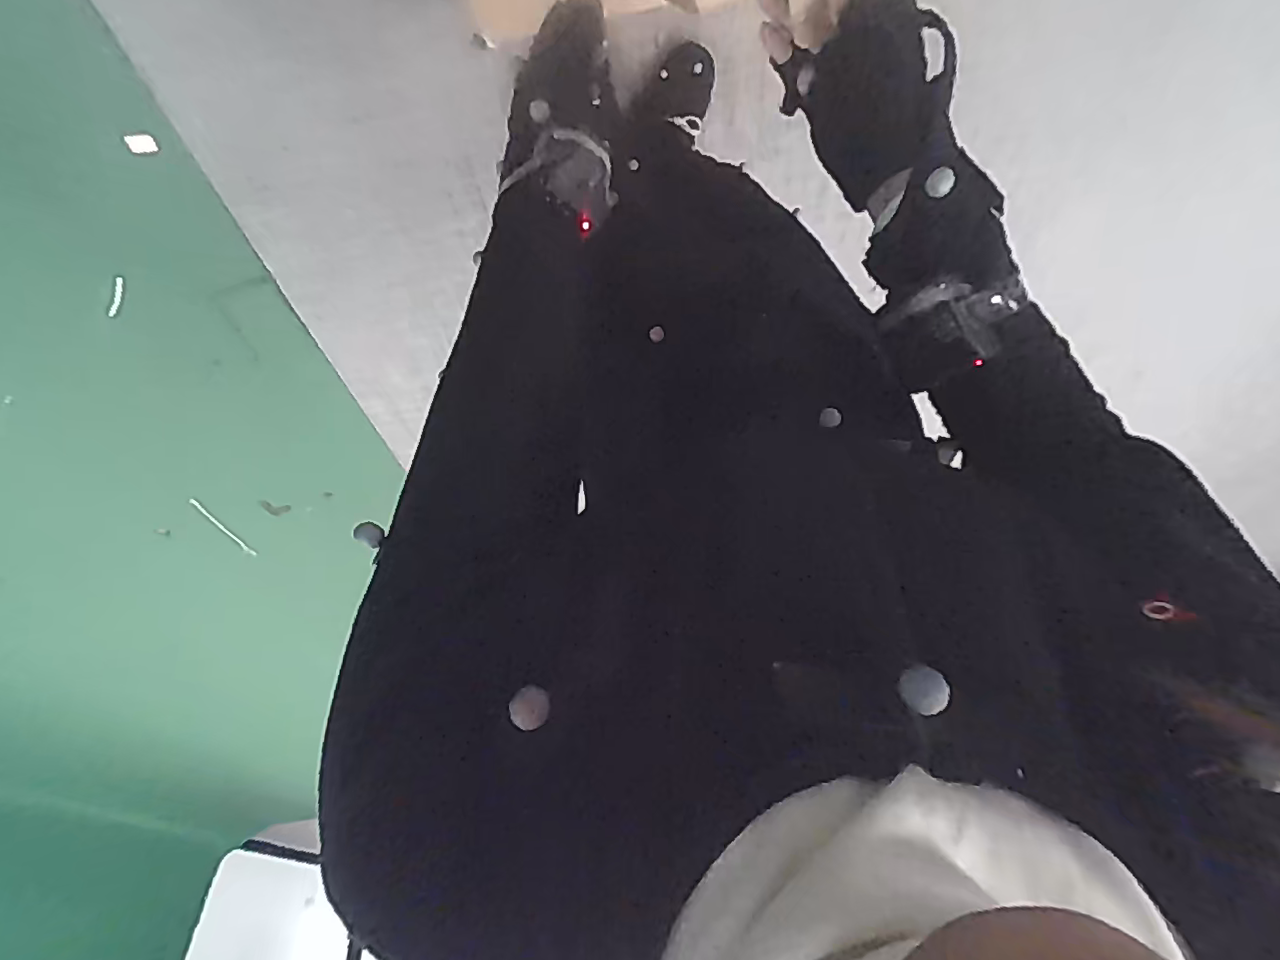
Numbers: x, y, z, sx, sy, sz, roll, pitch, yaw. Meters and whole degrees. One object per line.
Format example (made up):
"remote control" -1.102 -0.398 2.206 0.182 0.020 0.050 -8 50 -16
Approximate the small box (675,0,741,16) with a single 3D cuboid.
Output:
"small box" 0.072 -0.401 0.294 0.168 0.176 0.179 -17 138 4
